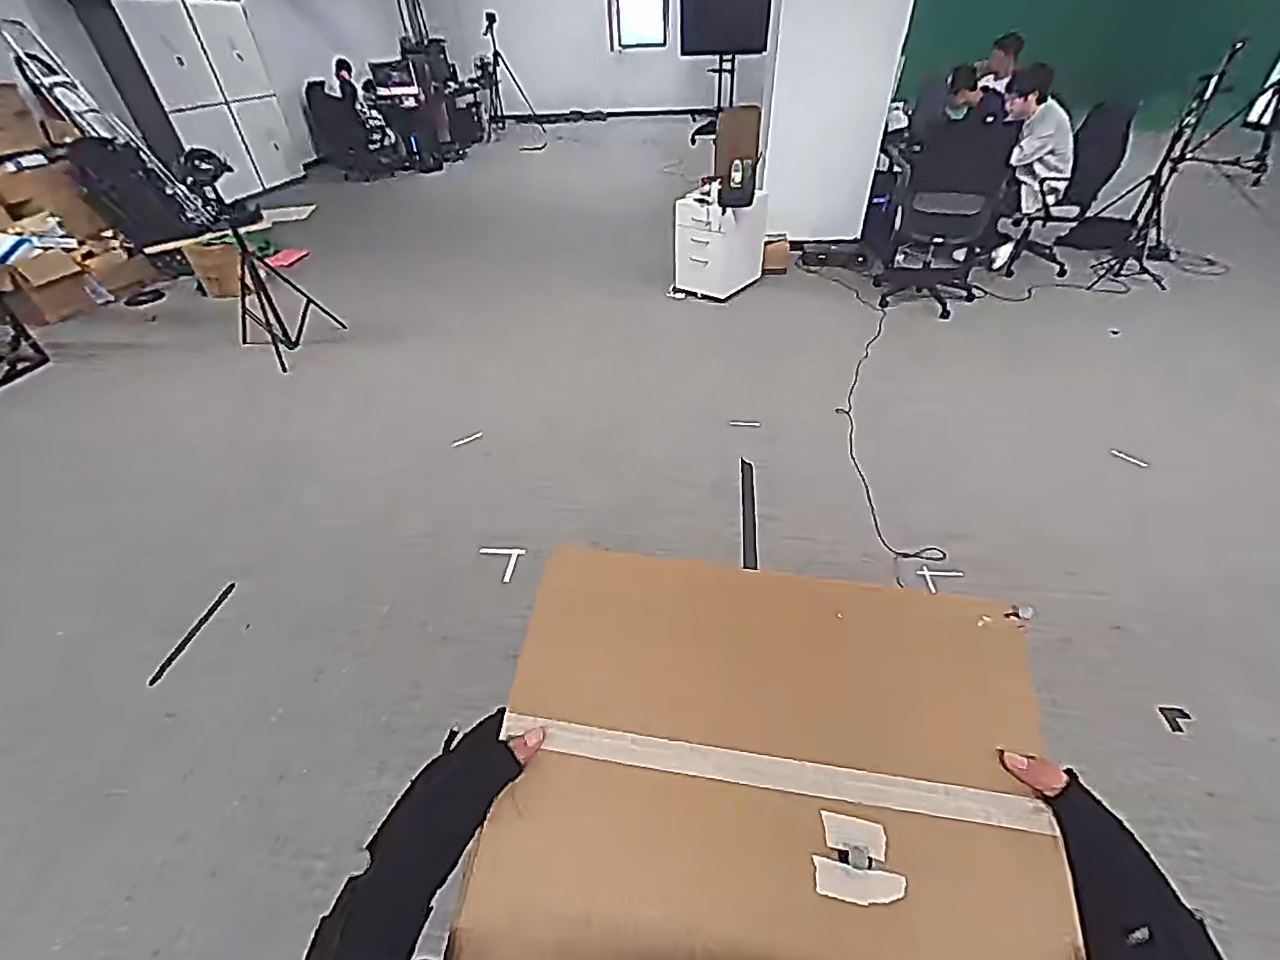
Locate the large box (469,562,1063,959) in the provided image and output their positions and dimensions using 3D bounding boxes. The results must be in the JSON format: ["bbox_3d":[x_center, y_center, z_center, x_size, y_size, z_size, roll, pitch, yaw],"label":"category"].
[{"bbox_3d":[0.104,0.302,0.550,0.408,0.320,0.320,6,61,8],"label":"large box"}]
